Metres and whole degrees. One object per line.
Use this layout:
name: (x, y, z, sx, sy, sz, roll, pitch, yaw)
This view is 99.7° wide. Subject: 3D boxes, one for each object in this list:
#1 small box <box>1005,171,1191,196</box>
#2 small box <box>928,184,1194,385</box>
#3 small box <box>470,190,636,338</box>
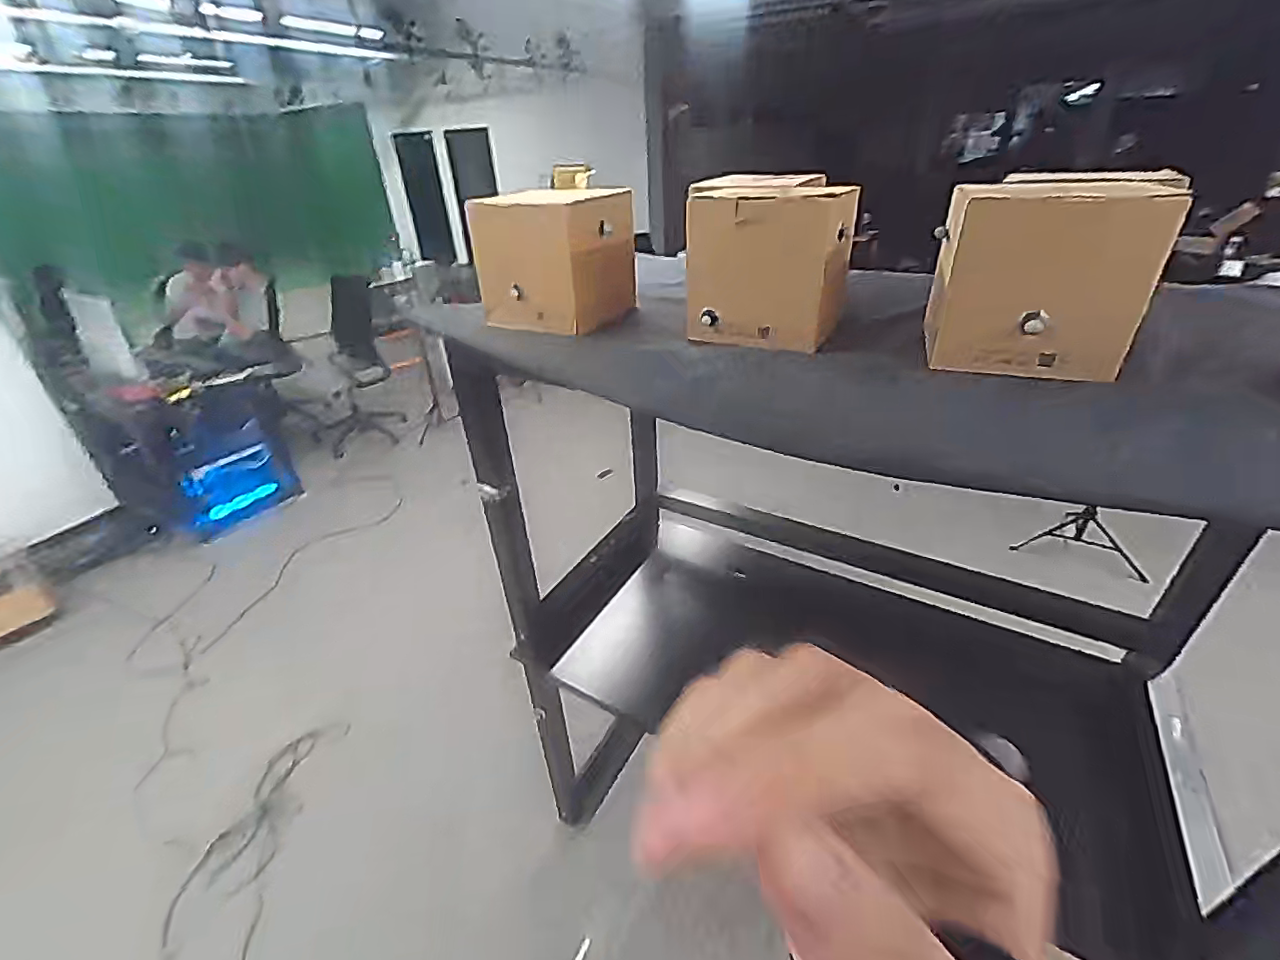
small box: (0.565, -0.307, 0.718, 0.179, 0.176, 0.168, 17, 36, 28)
small box: (0.419, -0.217, 0.581, 0.168, 0.176, 0.179, 10, 34, 20)
small box: (-0.116, -0.319, 0.787, 0.168, 0.176, 0.179, 13, 36, 24)
